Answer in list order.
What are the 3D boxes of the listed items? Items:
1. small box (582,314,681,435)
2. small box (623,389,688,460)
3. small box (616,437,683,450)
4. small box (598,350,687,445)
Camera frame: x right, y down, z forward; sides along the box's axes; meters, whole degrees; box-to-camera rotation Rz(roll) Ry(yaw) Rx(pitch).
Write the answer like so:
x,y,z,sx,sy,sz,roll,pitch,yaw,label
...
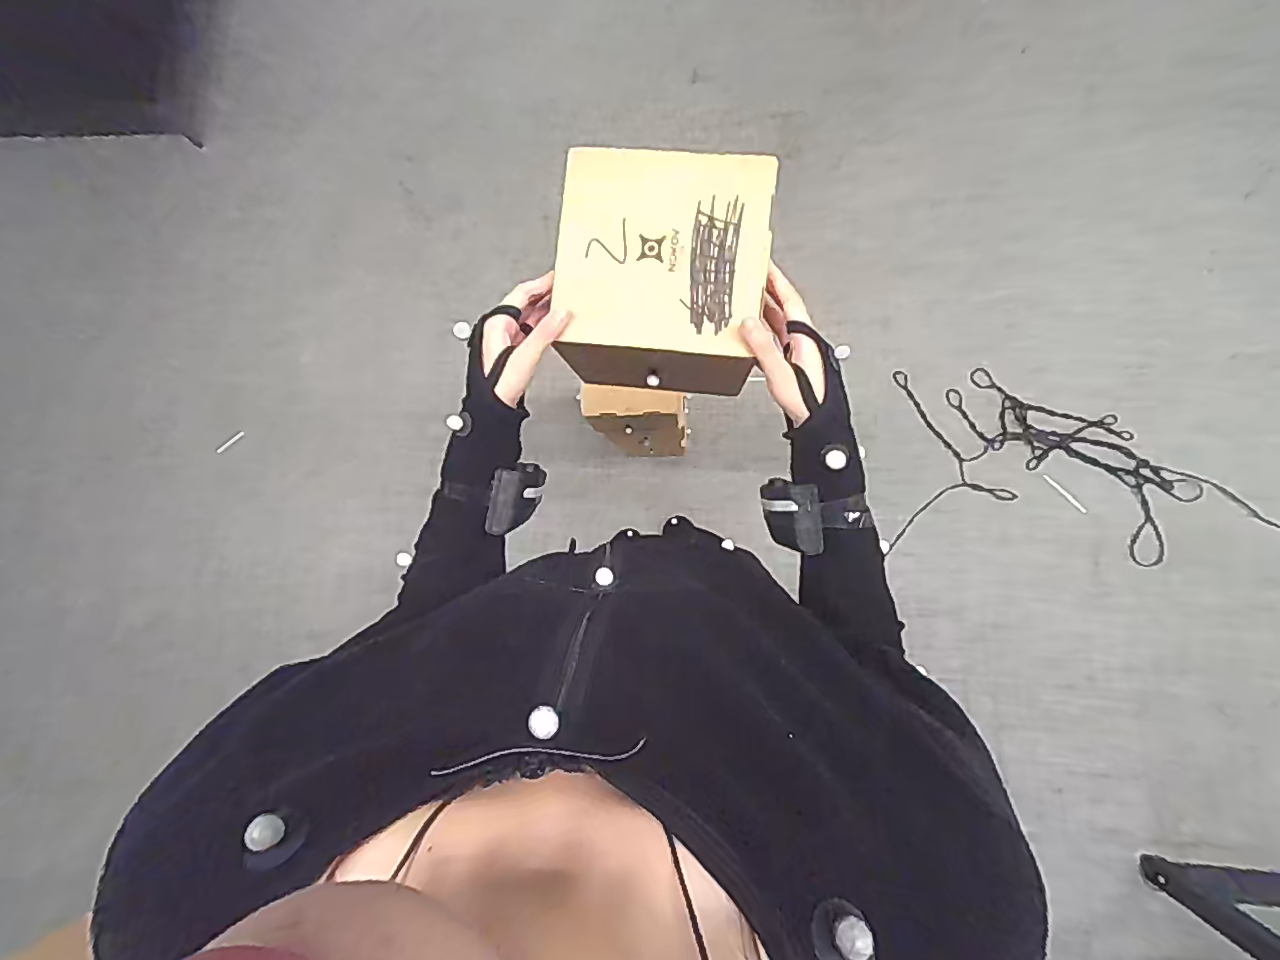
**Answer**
x,y,z,sx,sy,sz,roll,pitch,yaw,label
-0.011,-0.184,0.985,0.168,0.176,0.179,-1,85,5,small box
0.041,-0.147,1.472,0.179,0.176,0.168,1,84,4,small box
0.017,-0.166,1.310,0.179,0.176,0.168,1,85,5,small box
0.009,-0.169,1.147,0.179,0.176,0.168,-1,84,4,small box
